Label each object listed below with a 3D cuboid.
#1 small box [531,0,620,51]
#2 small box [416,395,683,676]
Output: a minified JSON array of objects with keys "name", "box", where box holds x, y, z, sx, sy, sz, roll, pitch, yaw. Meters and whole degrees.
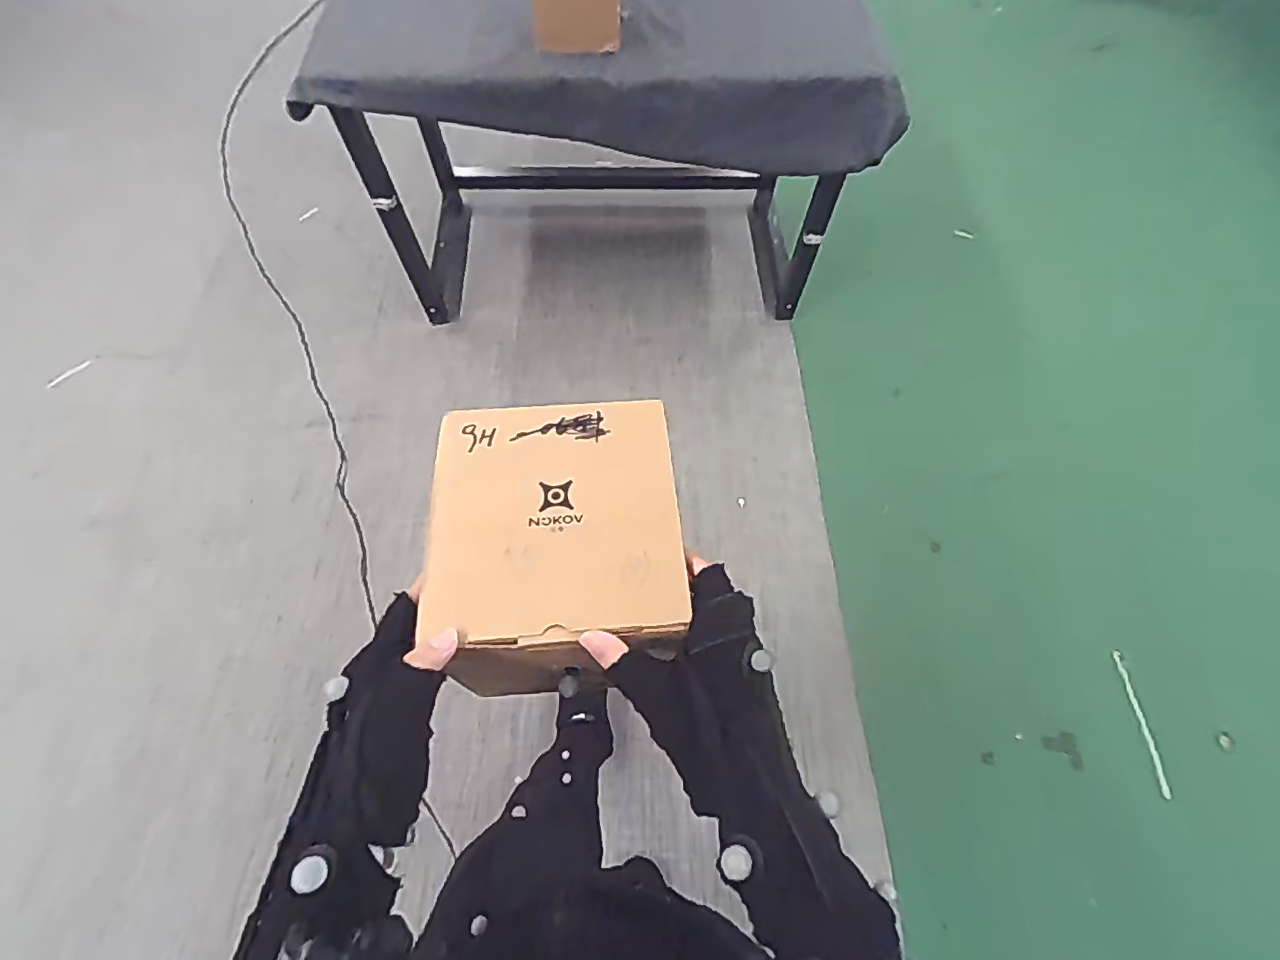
[{"name":"small box","box":[-0.129,-1.000,1.086,0.179,0.176,0.168,0,65,-3]},{"name":"small box","box":[-0.060,0.054,0.433,0.168,0.176,0.179,-3,61,-4]}]
